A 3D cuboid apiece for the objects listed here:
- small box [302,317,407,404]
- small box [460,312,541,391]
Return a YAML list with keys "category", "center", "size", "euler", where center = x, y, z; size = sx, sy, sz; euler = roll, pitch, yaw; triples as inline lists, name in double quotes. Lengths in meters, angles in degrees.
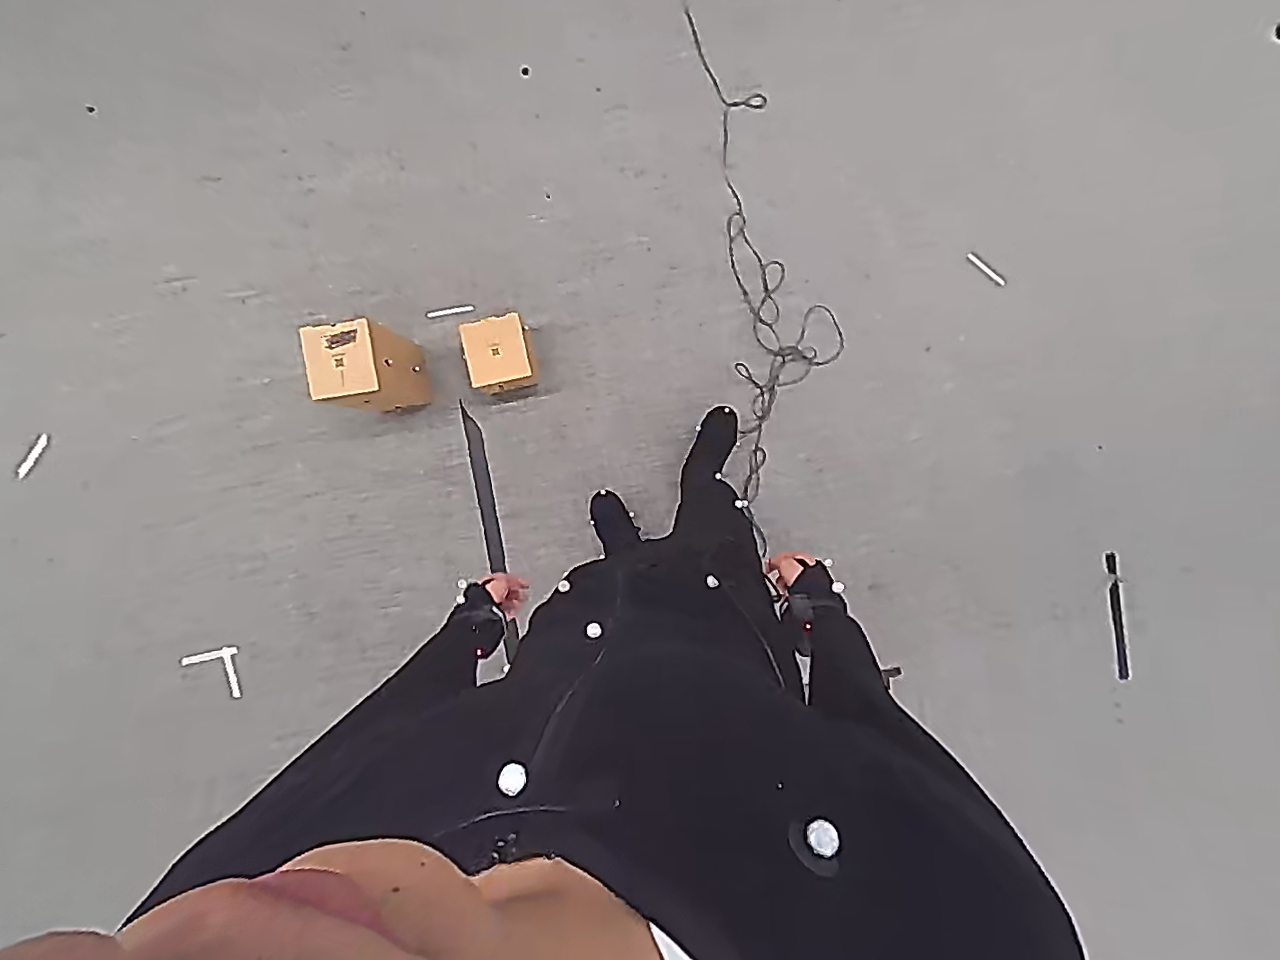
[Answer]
- category: "small box"
  center: [-0.713, -0.295, 1.367]
  size: [0.168, 0.176, 0.179]
  euler: [-8, 93, 0]
- category: "small box"
  center: [-0.388, -0.354, 1.534]
  size: [0.168, 0.176, 0.179]
  euler: [-13, 92, 0]
